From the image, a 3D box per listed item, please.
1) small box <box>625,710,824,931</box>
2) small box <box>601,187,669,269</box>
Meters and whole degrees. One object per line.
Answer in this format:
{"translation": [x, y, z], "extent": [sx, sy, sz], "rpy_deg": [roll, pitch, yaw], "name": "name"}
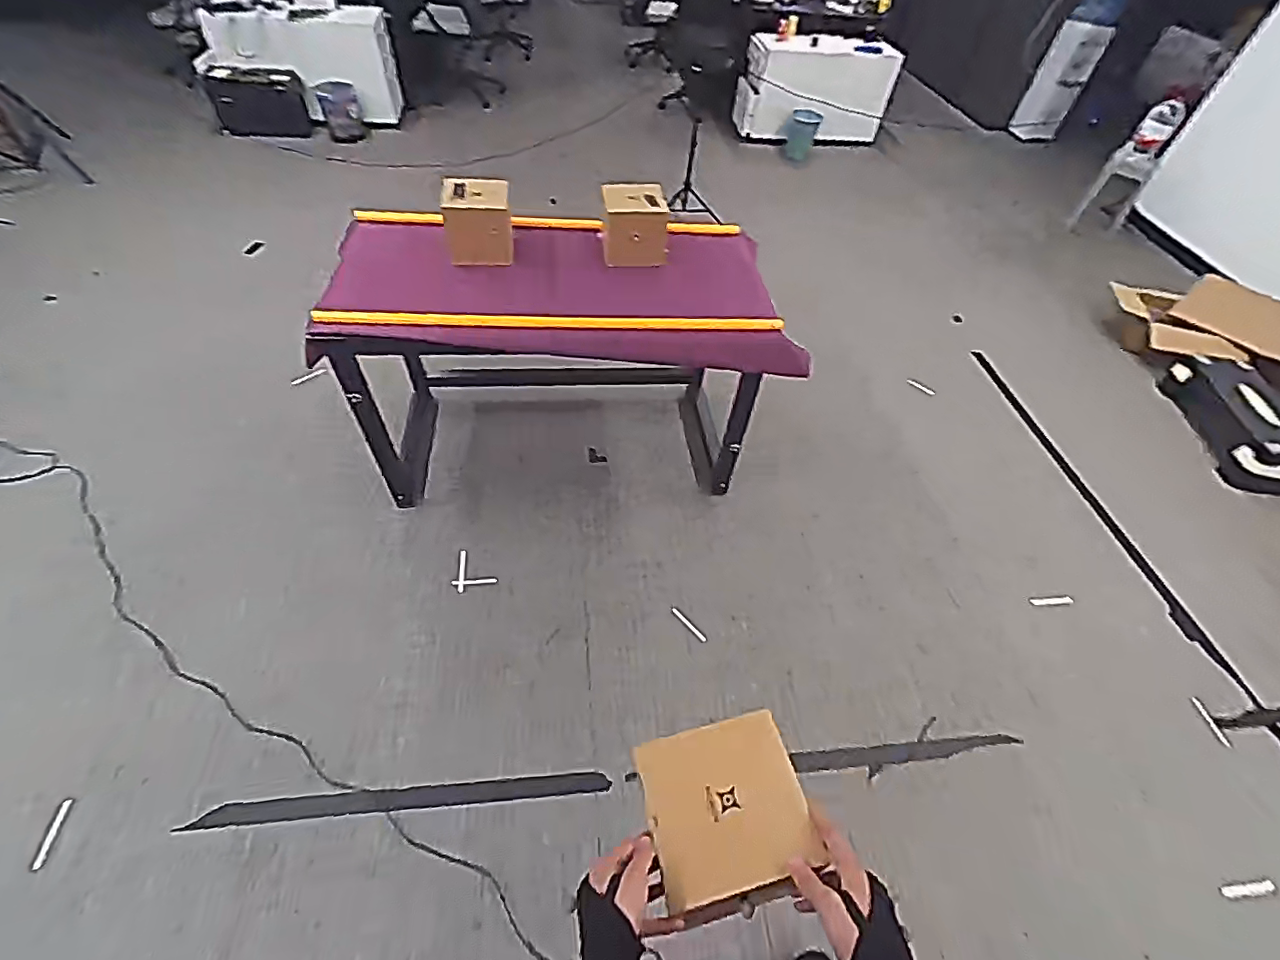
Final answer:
{"translation": [0.093, 0.409, 0.649], "extent": [0.179, 0.176, 0.168], "rpy_deg": [-16, 46, -6], "name": "small box"}
{"translation": [-0.021, -0.745, 1.605], "extent": [0.179, 0.176, 0.168], "rpy_deg": [-5, 53, -8], "name": "small box"}
